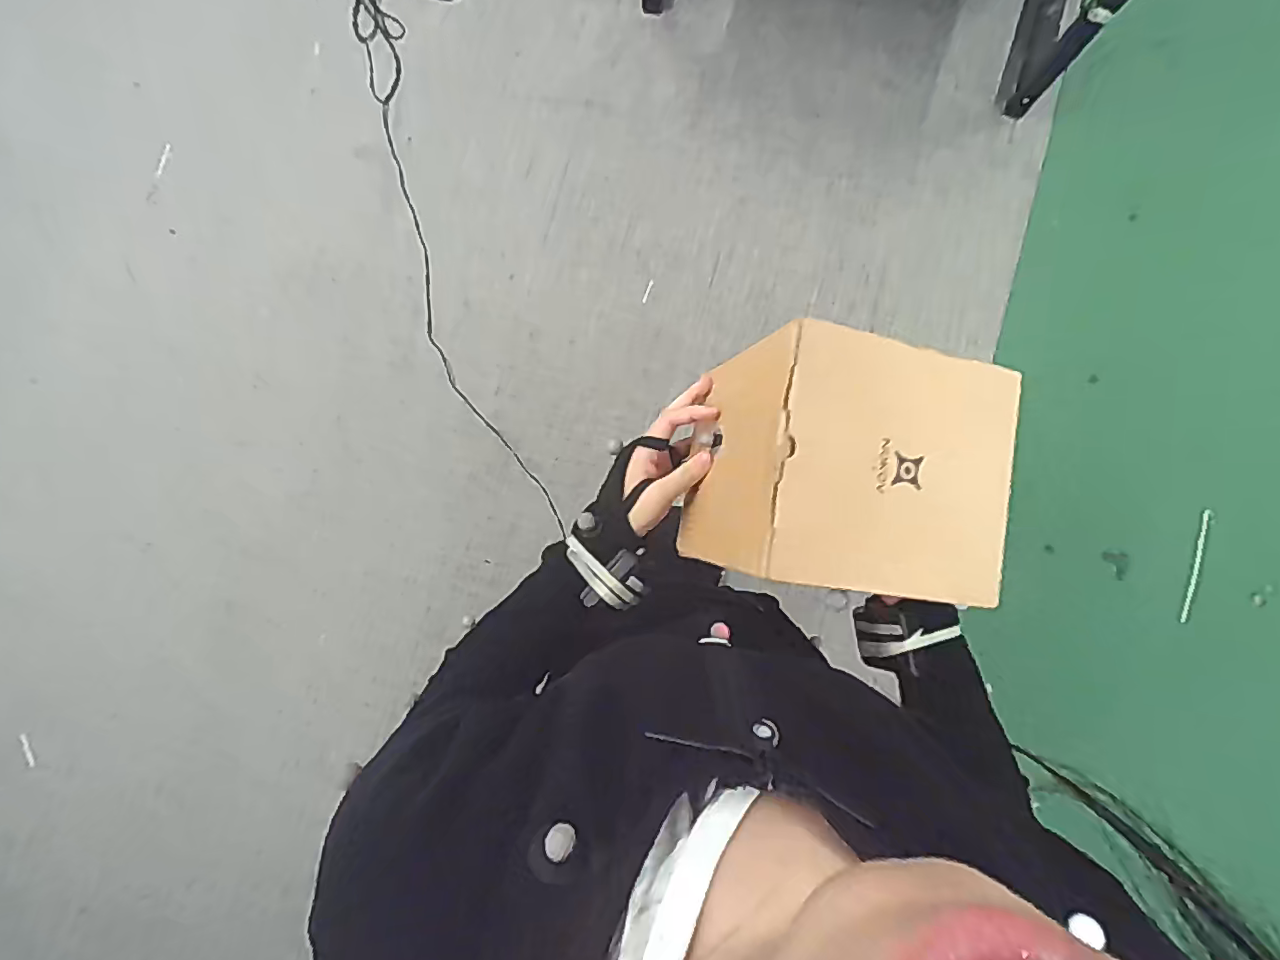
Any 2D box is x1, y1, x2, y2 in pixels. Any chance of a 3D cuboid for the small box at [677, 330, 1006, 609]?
[{"bbox_3d":[0.146,-0.002,0.436,0.179,0.176,0.168,9,86,-13],"label":"small box"}]
